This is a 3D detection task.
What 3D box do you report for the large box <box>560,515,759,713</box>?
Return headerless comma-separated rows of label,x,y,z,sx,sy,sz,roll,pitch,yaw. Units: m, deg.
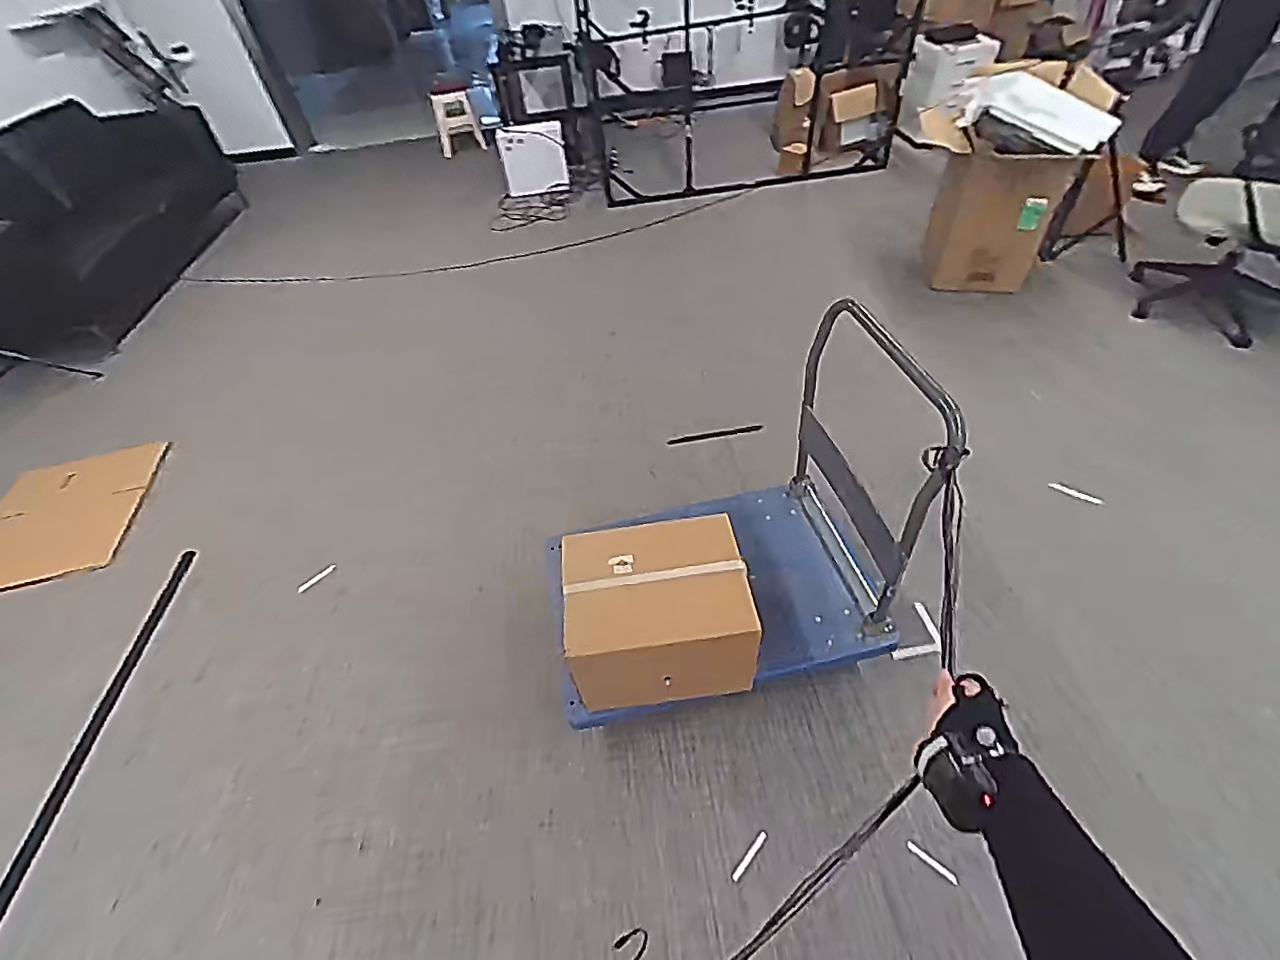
large box,0.041,0.324,1.292,0.408,0.320,0.320,-9,46,-1
